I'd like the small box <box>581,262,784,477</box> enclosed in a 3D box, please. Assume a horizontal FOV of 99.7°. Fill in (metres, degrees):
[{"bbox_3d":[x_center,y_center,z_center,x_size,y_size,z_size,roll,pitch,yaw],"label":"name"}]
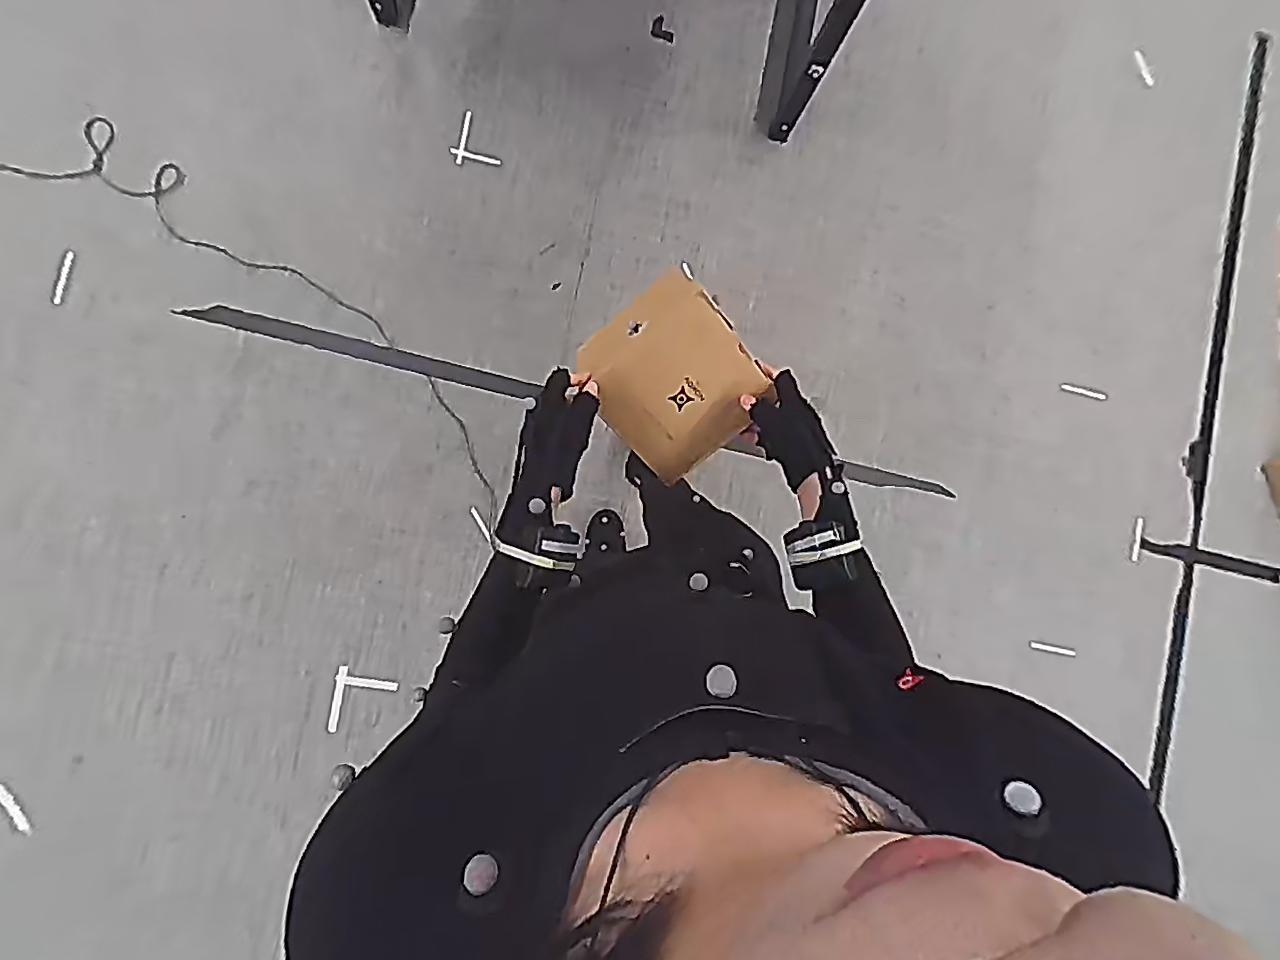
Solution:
[{"bbox_3d":[0.039,-0.144,0.669,0.179,0.176,0.168,-39,116,14],"label":"small box"}]
